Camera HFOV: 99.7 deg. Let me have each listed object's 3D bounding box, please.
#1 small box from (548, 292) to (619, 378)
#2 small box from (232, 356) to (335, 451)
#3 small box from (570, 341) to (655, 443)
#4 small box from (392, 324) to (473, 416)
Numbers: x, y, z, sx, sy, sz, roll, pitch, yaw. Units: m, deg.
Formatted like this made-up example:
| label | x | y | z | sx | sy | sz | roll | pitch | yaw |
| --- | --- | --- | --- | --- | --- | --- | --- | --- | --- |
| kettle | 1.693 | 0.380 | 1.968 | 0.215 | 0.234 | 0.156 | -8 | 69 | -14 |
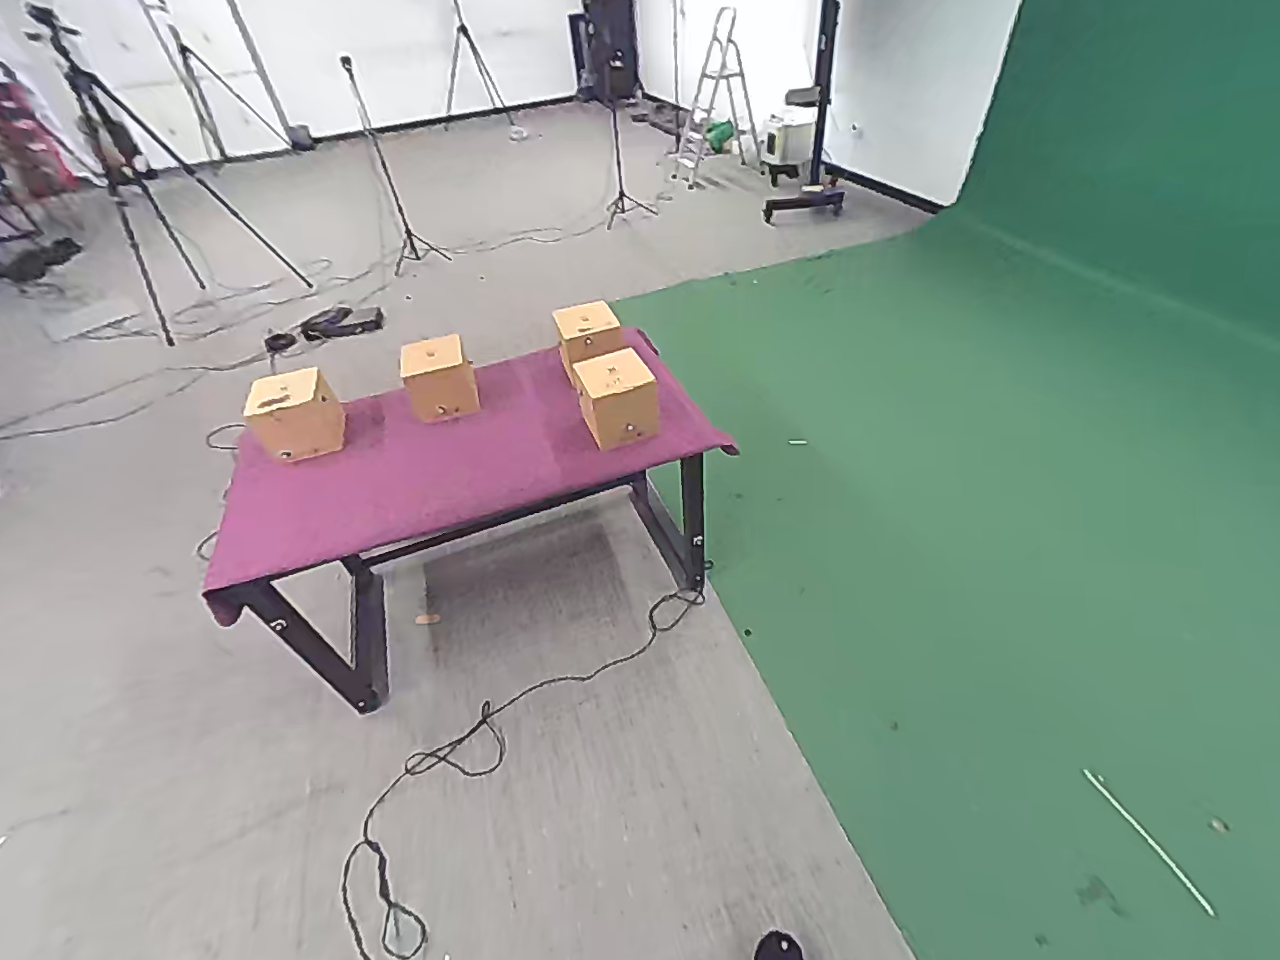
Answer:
| label | x | y | z | sx | sy | sz | roll | pitch | yaw |
| --- | --- | --- | --- | --- | --- | --- | --- | --- | --- |
| small box | -0.162 | -0.423 | 1.584 | 0.168 | 0.176 | 0.179 | -17 | 46 | -10 |
| small box | -0.927 | -0.195 | 1.424 | 0.168 | 0.176 | 0.179 | -16 | 47 | -11 |
| small box | -0.068 | -0.222 | 1.373 | 0.168 | 0.176 | 0.179 | -19 | 47 | -11 |
| small box | -0.576 | -0.307 | 1.509 | 0.168 | 0.176 | 0.179 | -15 | 47 | -9 |
